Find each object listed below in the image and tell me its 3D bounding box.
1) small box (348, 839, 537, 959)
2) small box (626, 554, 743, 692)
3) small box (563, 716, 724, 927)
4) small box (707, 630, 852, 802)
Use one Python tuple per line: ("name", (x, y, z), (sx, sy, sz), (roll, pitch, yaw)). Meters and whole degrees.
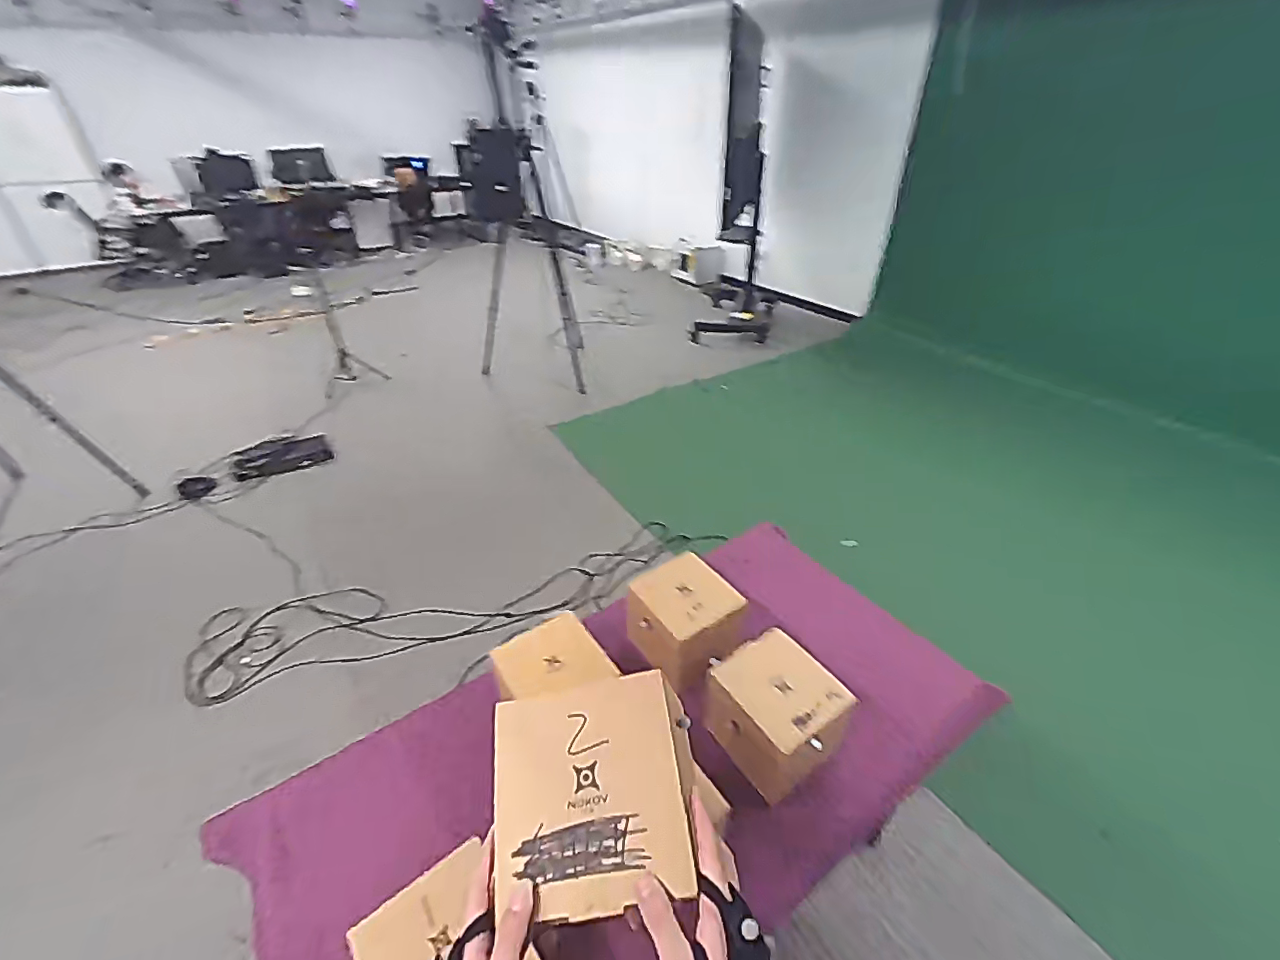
("small box", (-0.225, 0.605, 0.664), (0.168, 0.176, 0.179), (-25, 39, -30))
("small box", (0.085, 0.288, 1.099), (0.168, 0.176, 0.179), (-23, 41, -26))
("small box", (0.003, 0.502, 0.804), (0.168, 0.176, 0.179), (-24, 41, -27))
("small box", (0.228, 0.402, 0.931), (0.168, 0.176, 0.179), (-23, 39, -26))
